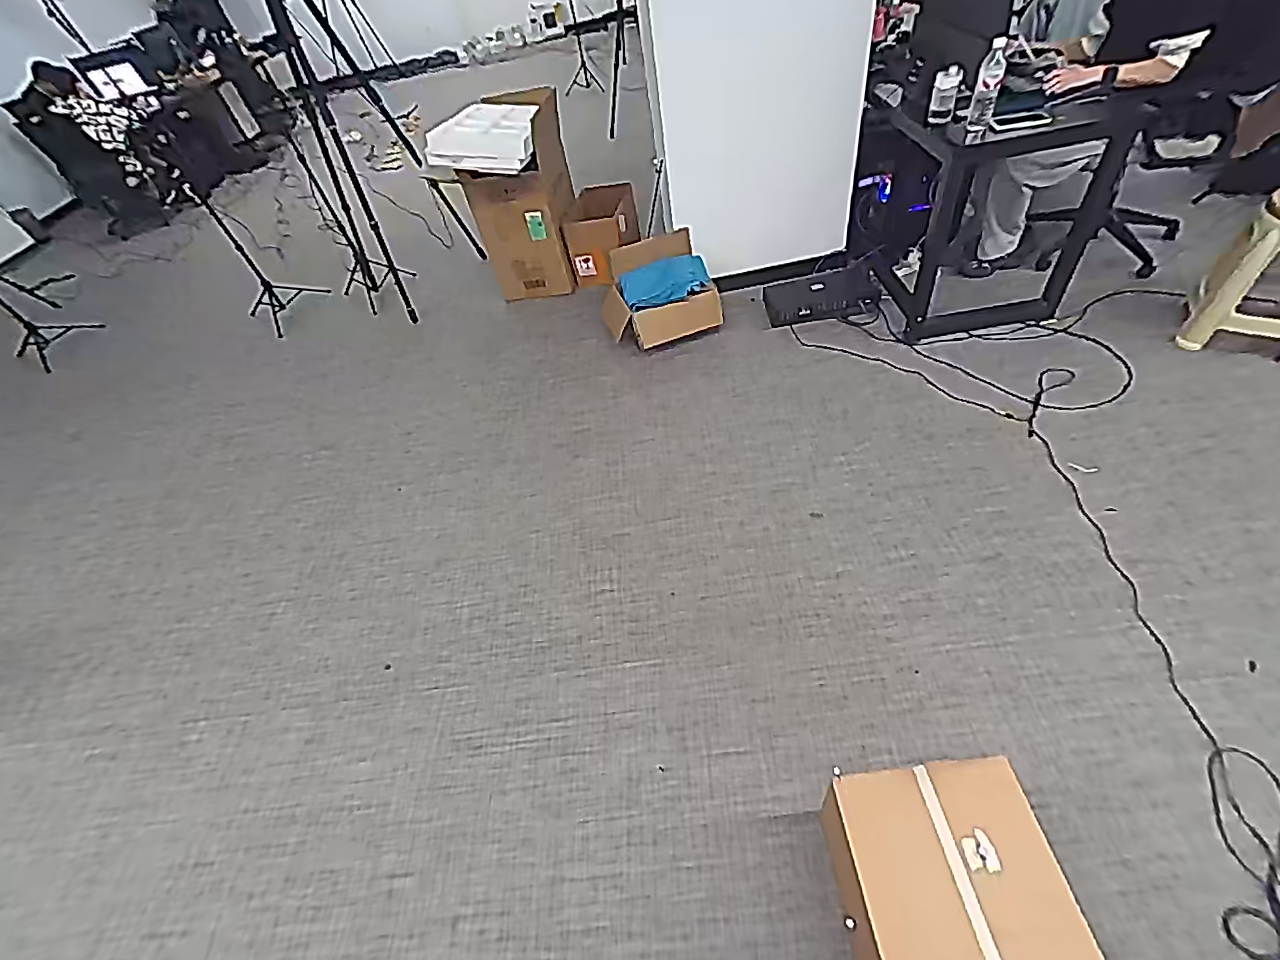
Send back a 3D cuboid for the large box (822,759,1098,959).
[{"bbox_3d":[0.546,0.777,0.969,0.320,0.320,0.408,-9,46,4],"label":"large box"}]
